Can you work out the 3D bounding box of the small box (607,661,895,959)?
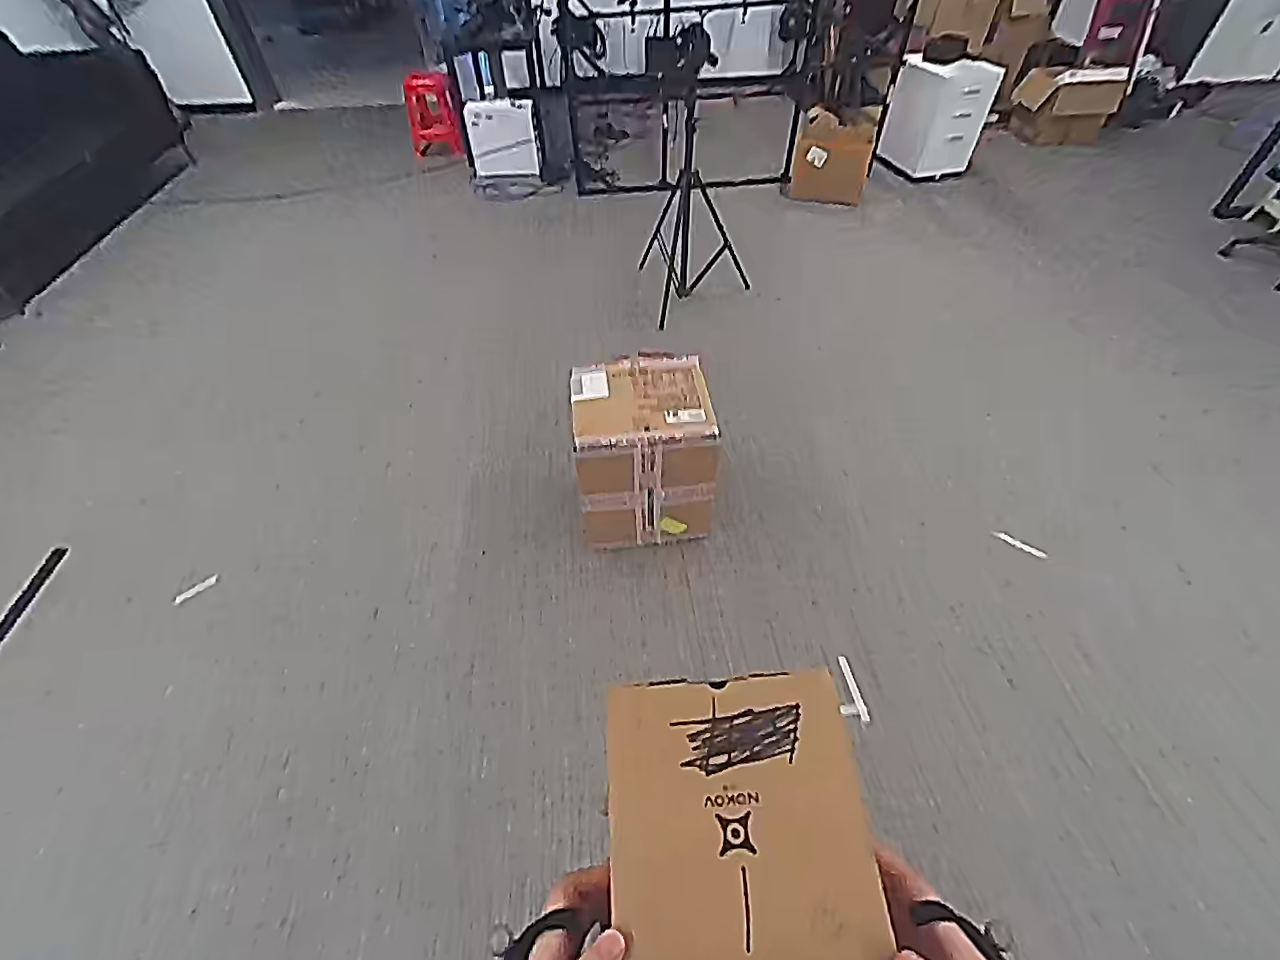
[{"bbox_3d":[0.064,0.253,0.416,0.168,0.176,0.179,-5,58,2],"label":"small box"}]
